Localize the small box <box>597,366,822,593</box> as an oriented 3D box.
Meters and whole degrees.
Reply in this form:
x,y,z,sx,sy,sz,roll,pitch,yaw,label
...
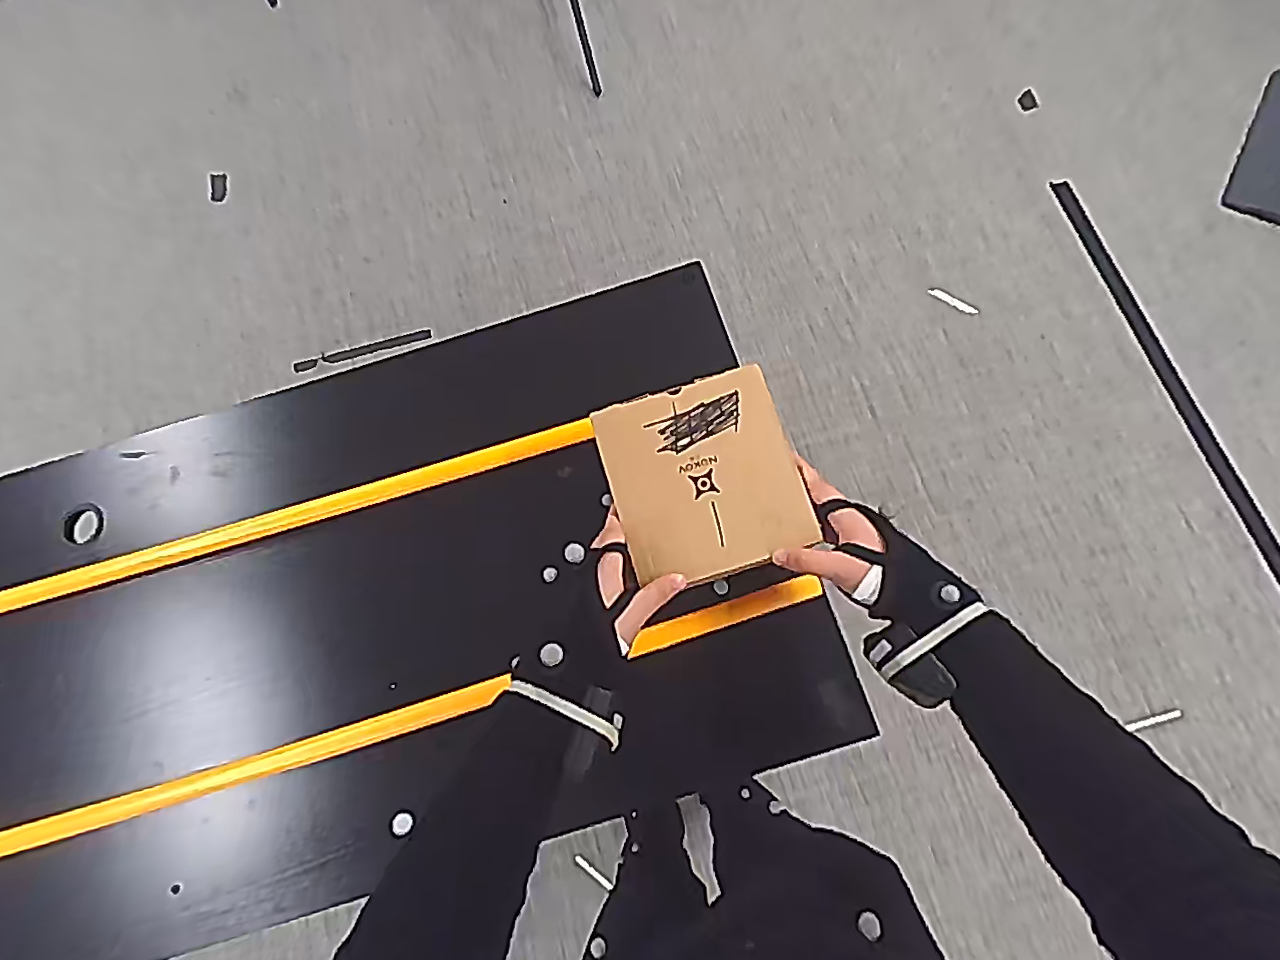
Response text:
x,y,z,sx,sy,sz,roll,pitch,yaw,label
0.063,0.012,0.564,0.168,0.176,0.179,-17,77,1,small box
